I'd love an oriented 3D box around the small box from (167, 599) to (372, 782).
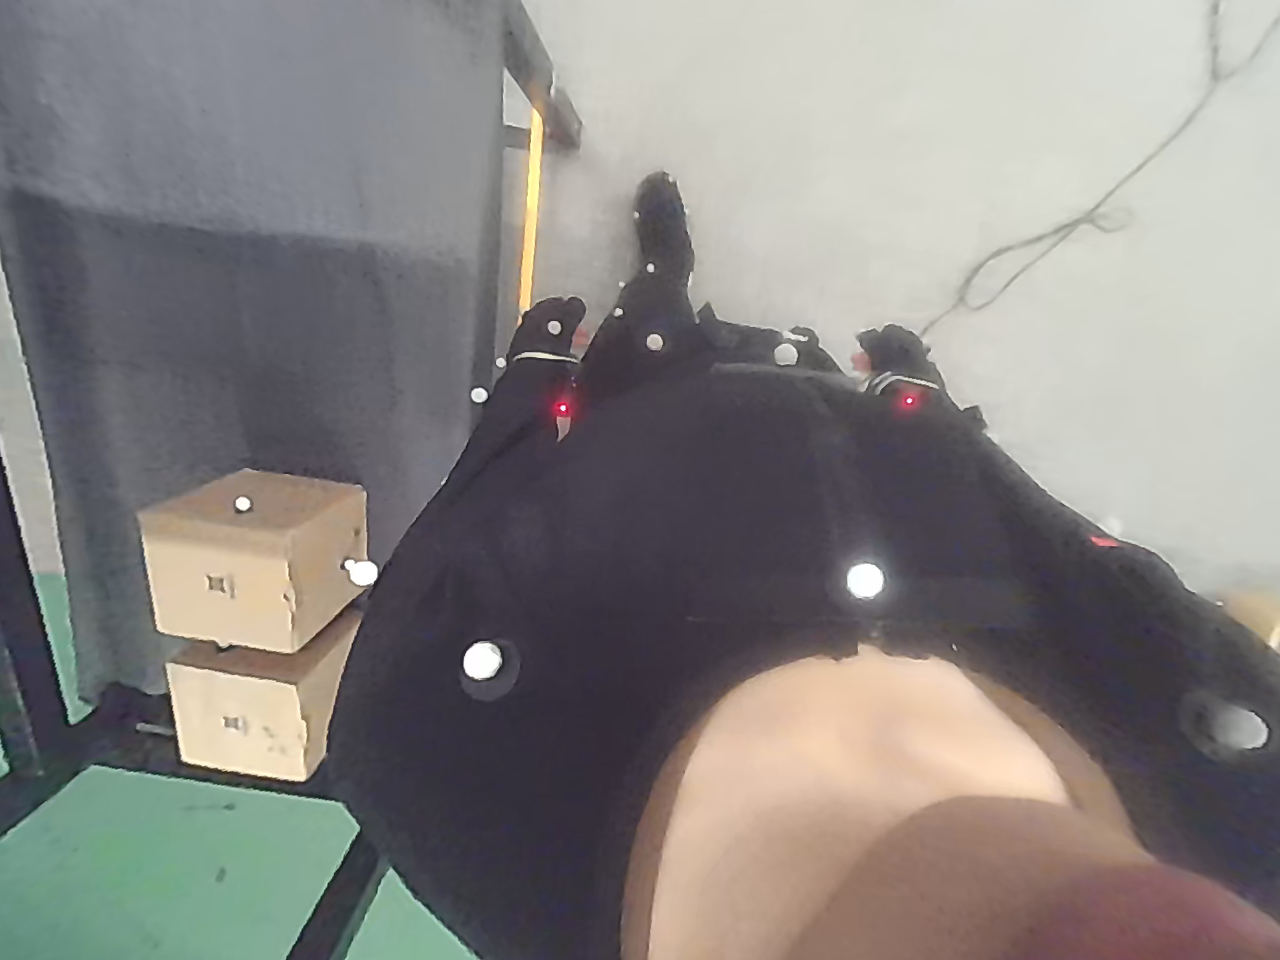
[{"bbox_3d":[-0.516,0.290,0.777,0.179,0.176,0.168,9,109,1],"label":"small box"}]
